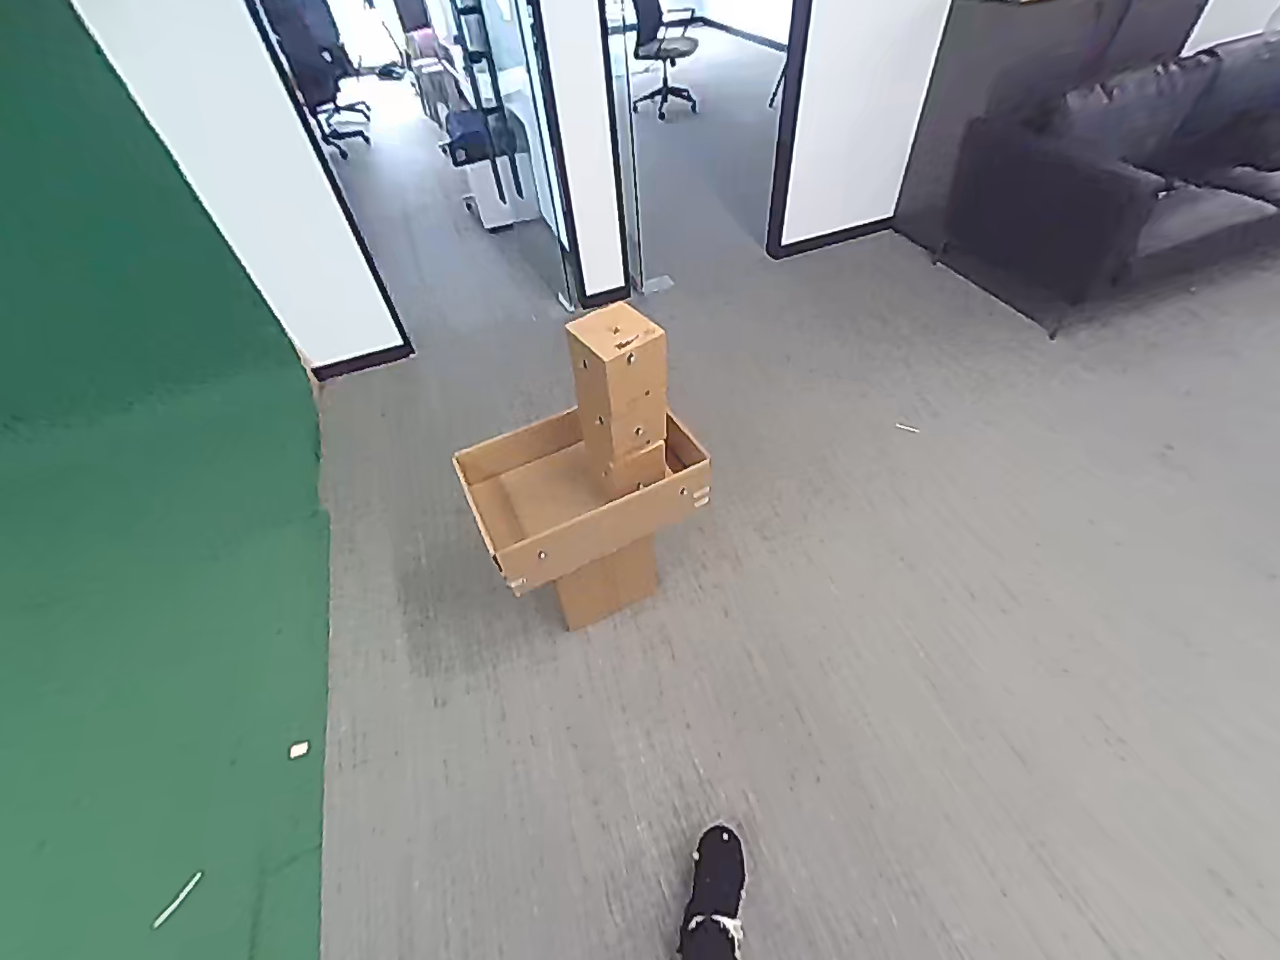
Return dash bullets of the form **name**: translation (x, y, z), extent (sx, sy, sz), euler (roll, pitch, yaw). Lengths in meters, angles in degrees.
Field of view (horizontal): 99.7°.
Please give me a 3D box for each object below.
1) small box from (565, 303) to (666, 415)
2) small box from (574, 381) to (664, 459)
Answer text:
- **small box**: translation (-0.054, -0.284, 1.274), extent (0.168, 0.176, 0.179), euler (-31, 53, -21)
- **small box**: translation (-0.050, -0.177, 1.398), extent (0.168, 0.176, 0.179), euler (-28, 53, -20)
